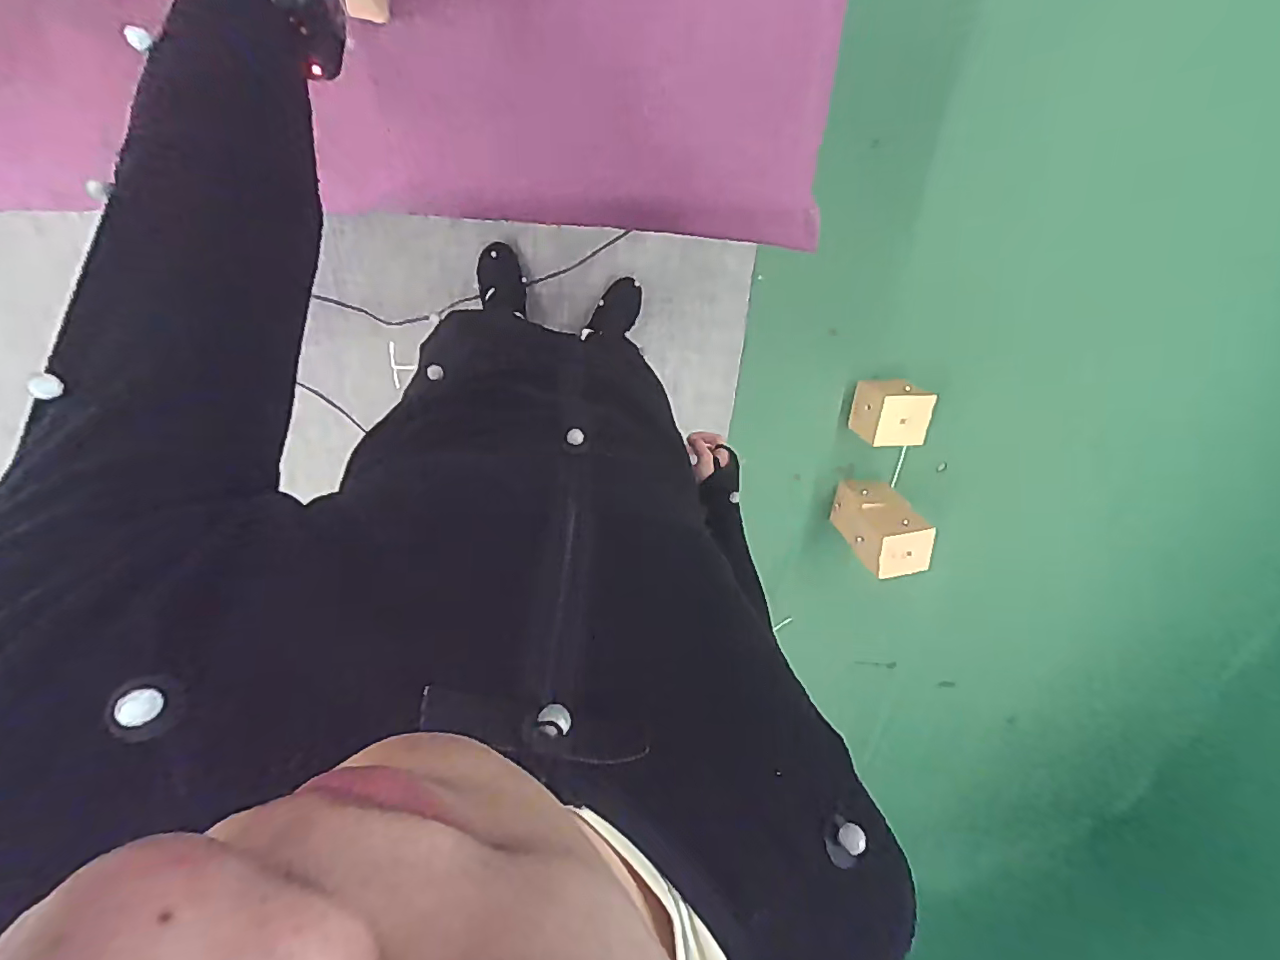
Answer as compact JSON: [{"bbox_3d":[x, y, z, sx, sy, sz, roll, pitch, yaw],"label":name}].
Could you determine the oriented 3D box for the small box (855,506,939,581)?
[{"bbox_3d":[0.823,0.198,1.745,0.179,0.176,0.168,-9,118,-4],"label":"small box"}]

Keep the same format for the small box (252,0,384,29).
[{"bbox_3d":[-0.334,-0.548,0.483,0.168,0.176,0.179,2,118,-16],"label":"small box"}]

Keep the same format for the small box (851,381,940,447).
[{"bbox_3d":[0.799,-0.212,1.713,0.179,0.176,0.168,-3,118,-9],"label":"small box"}]
